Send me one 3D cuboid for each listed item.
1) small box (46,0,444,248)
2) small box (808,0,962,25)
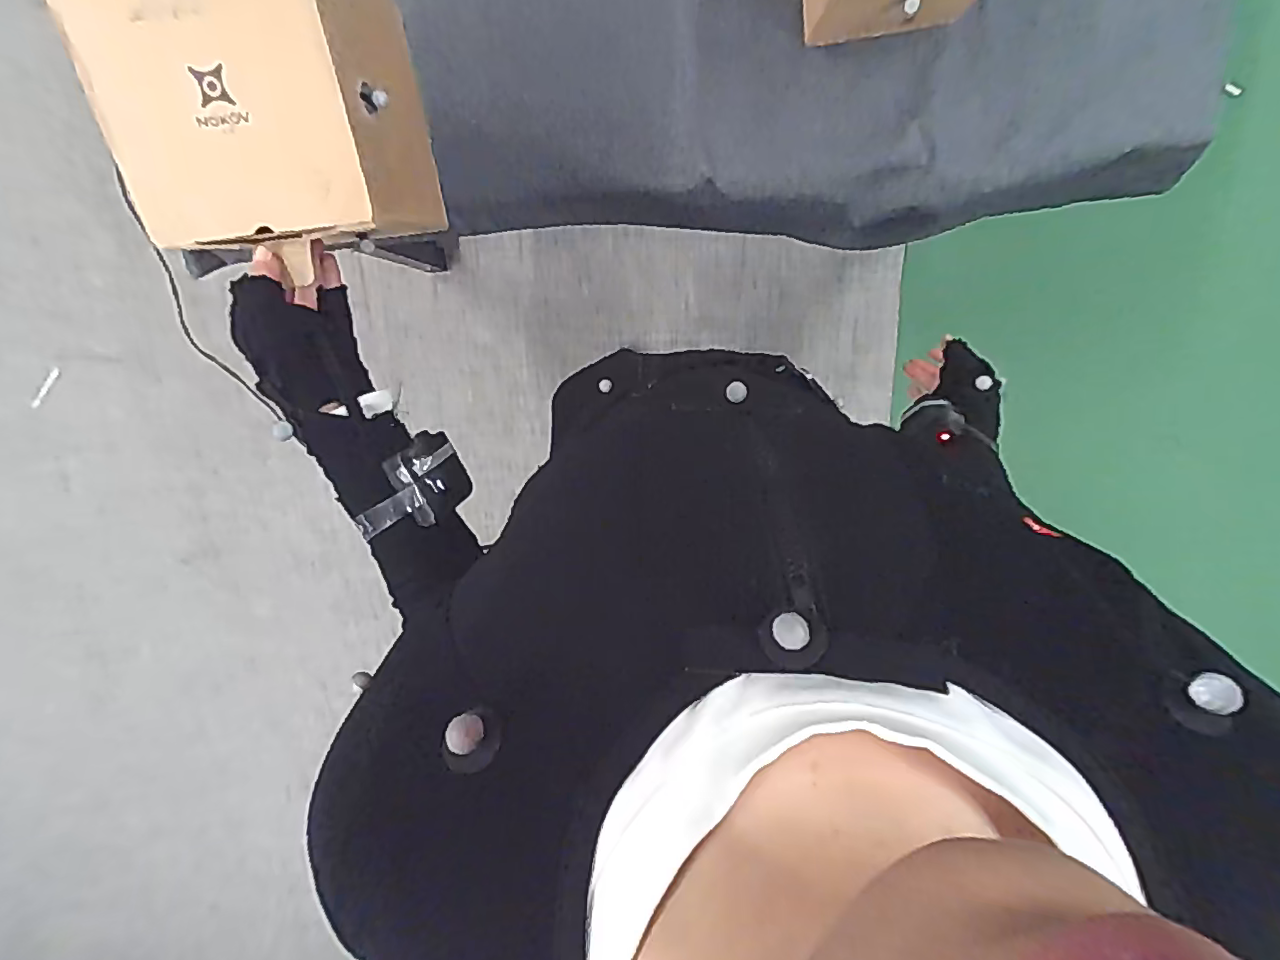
[{"bbox_3d":[-0.273,-0.285,0.419,0.168,0.176,0.179,-7,113,2],"label":"small box"},{"bbox_3d":[0.252,-0.552,0.485,0.168,0.176,0.179,-7,106,2],"label":"small box"}]
